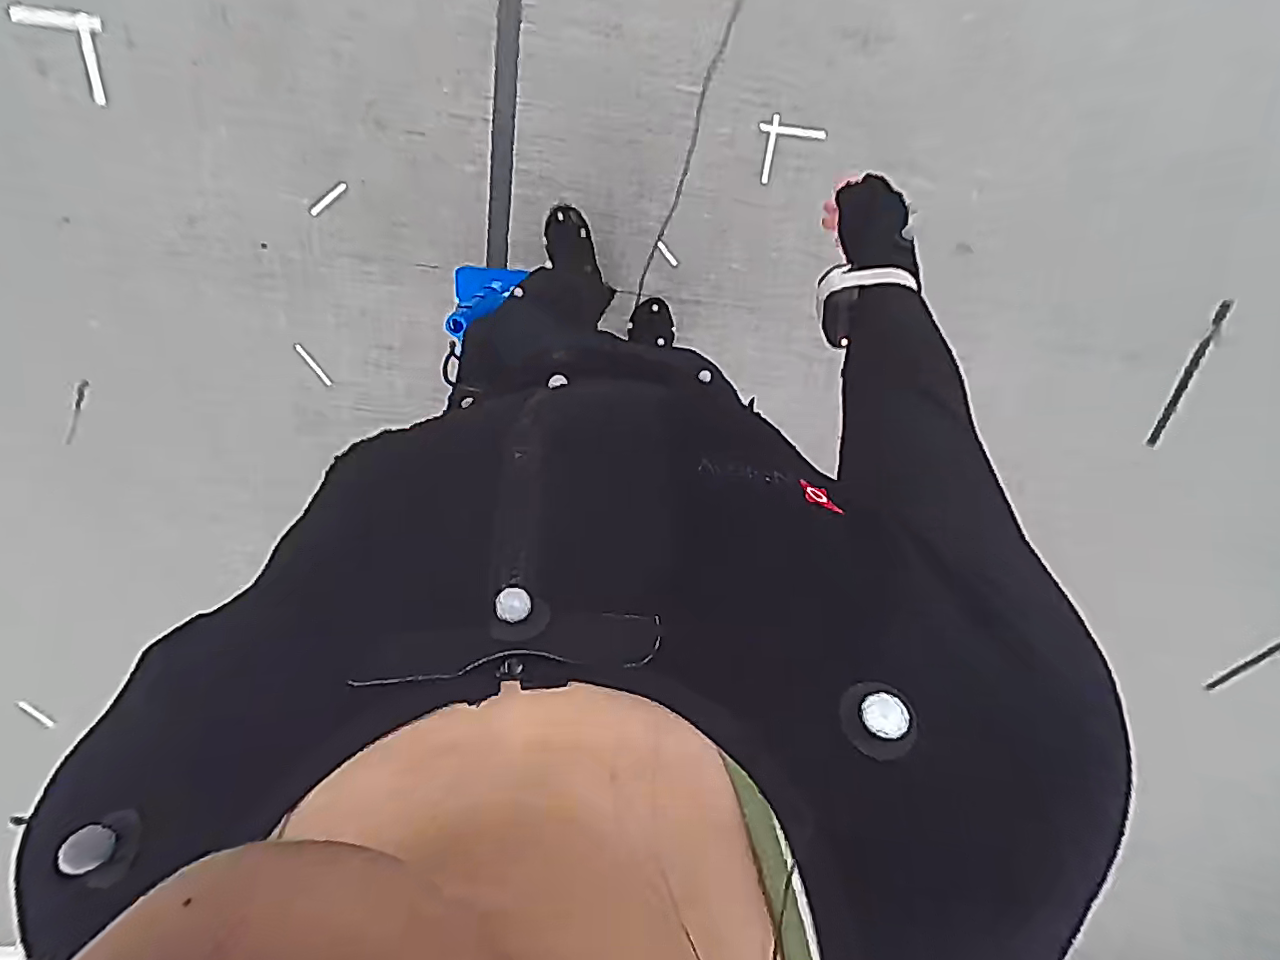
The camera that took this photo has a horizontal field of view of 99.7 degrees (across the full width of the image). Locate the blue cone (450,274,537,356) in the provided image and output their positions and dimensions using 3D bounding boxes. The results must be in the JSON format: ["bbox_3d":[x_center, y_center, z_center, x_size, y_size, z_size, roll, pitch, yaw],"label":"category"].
[{"bbox_3d":[-0.346,-0.346,1.168,0.192,0.380,0.193,2,110,-2],"label":"blue cone"}]
